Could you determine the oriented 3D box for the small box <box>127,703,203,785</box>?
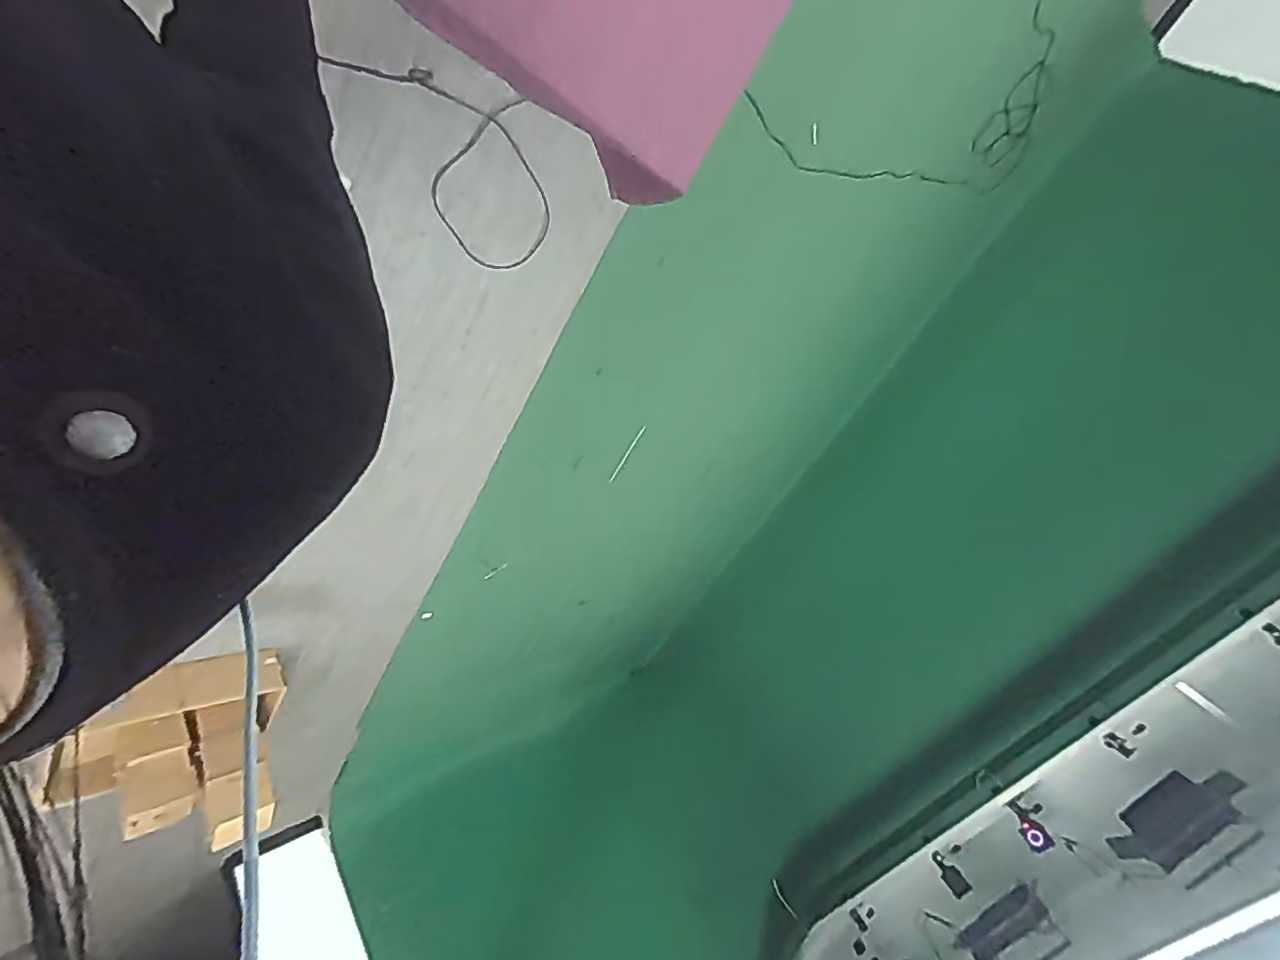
[{"bbox_3d":[-1.690,0.930,1.918,0.168,0.176,0.179,2,128,-54],"label":"small box"}]

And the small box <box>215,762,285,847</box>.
[{"bbox_3d":[-1.369,1.124,1.892,0.168,0.176,0.179,-5,132,-46],"label":"small box"}]

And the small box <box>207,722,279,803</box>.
[{"bbox_3d":[-1.465,1.031,1.987,0.179,0.176,0.168,-1,129,-49],"label":"small box"}]
